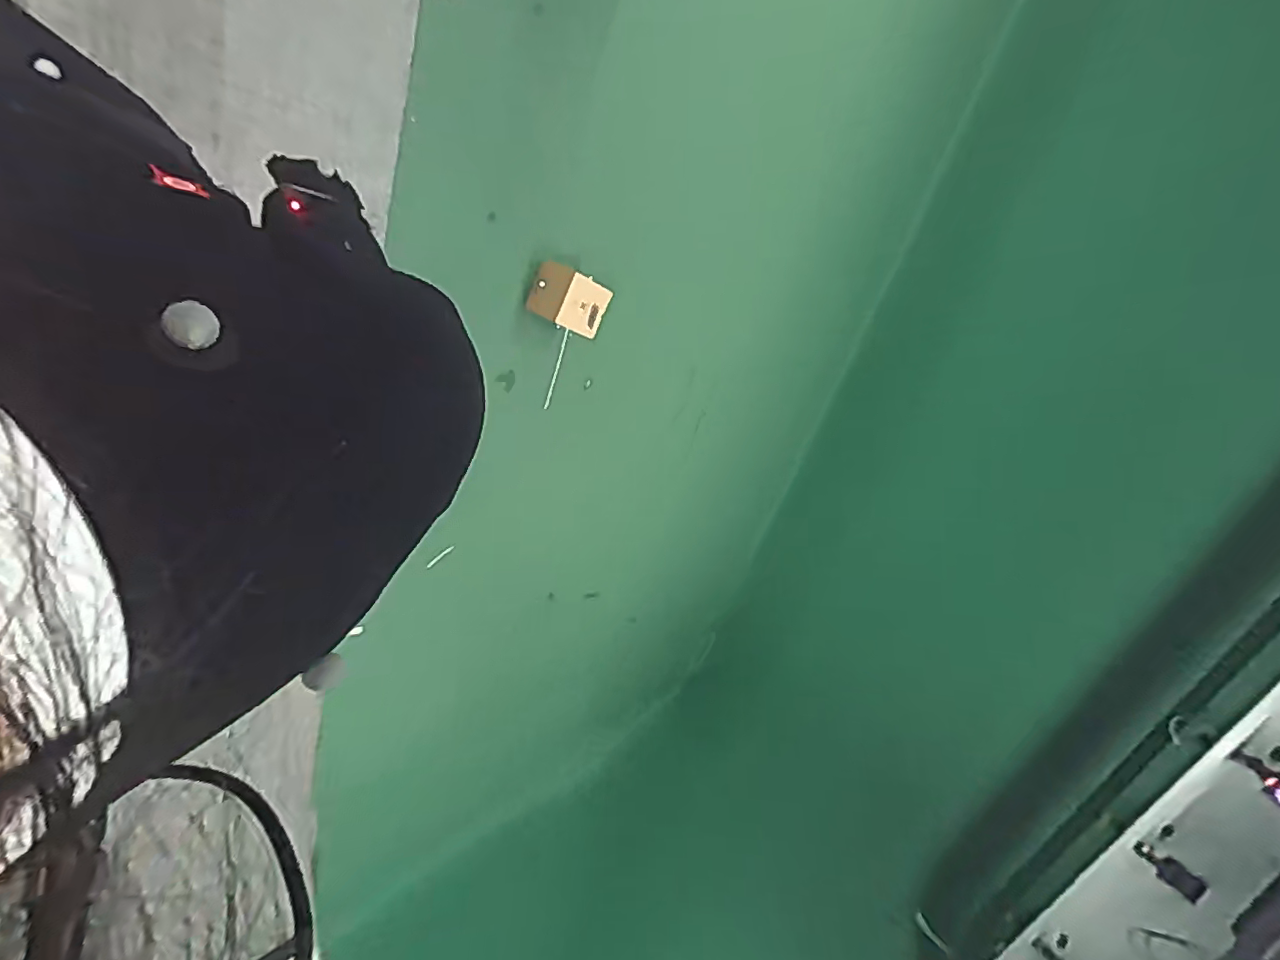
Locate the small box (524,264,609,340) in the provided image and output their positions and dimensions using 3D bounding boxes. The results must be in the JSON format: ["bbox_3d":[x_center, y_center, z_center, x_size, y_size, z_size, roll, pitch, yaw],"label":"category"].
[{"bbox_3d":[-0.239,-0.576,1.747,0.179,0.176,0.168,9,110,-52],"label":"small box"}]
